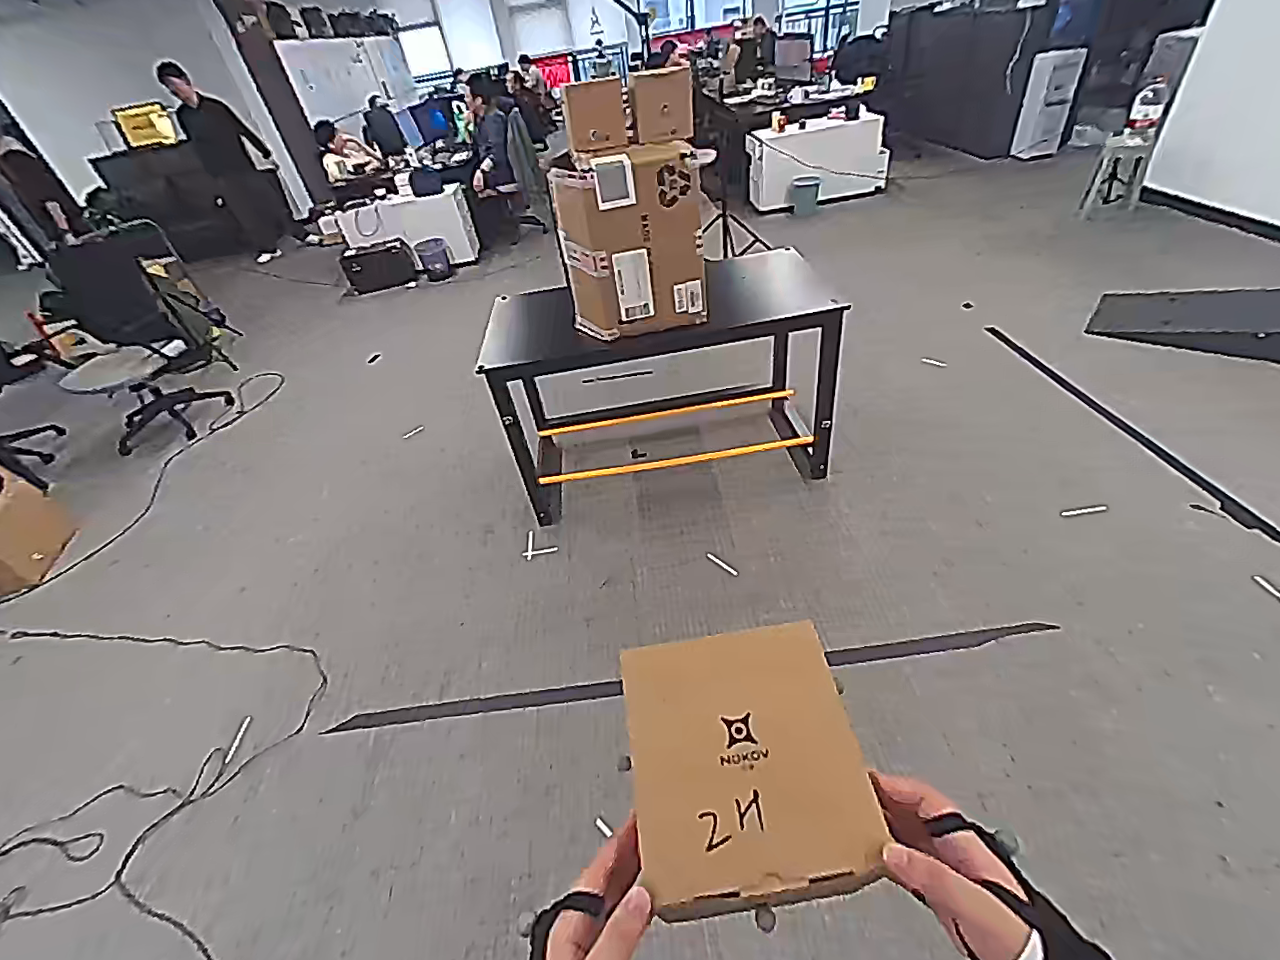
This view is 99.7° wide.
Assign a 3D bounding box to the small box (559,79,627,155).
[{"bbox_3d":[-0.142,-1.095,1.632,0.168,0.176,0.179,-13,39,-5],"label":"small box"}]

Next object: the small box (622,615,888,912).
[{"bbox_3d":[0.081,0.244,0.465,0.168,0.176,0.179,-10,47,1],"label":"small box"}]

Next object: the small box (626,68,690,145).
[{"bbox_3d":[0.055,-1.122,1.627,0.168,0.176,0.179,-9,40,-3],"label":"small box"}]
